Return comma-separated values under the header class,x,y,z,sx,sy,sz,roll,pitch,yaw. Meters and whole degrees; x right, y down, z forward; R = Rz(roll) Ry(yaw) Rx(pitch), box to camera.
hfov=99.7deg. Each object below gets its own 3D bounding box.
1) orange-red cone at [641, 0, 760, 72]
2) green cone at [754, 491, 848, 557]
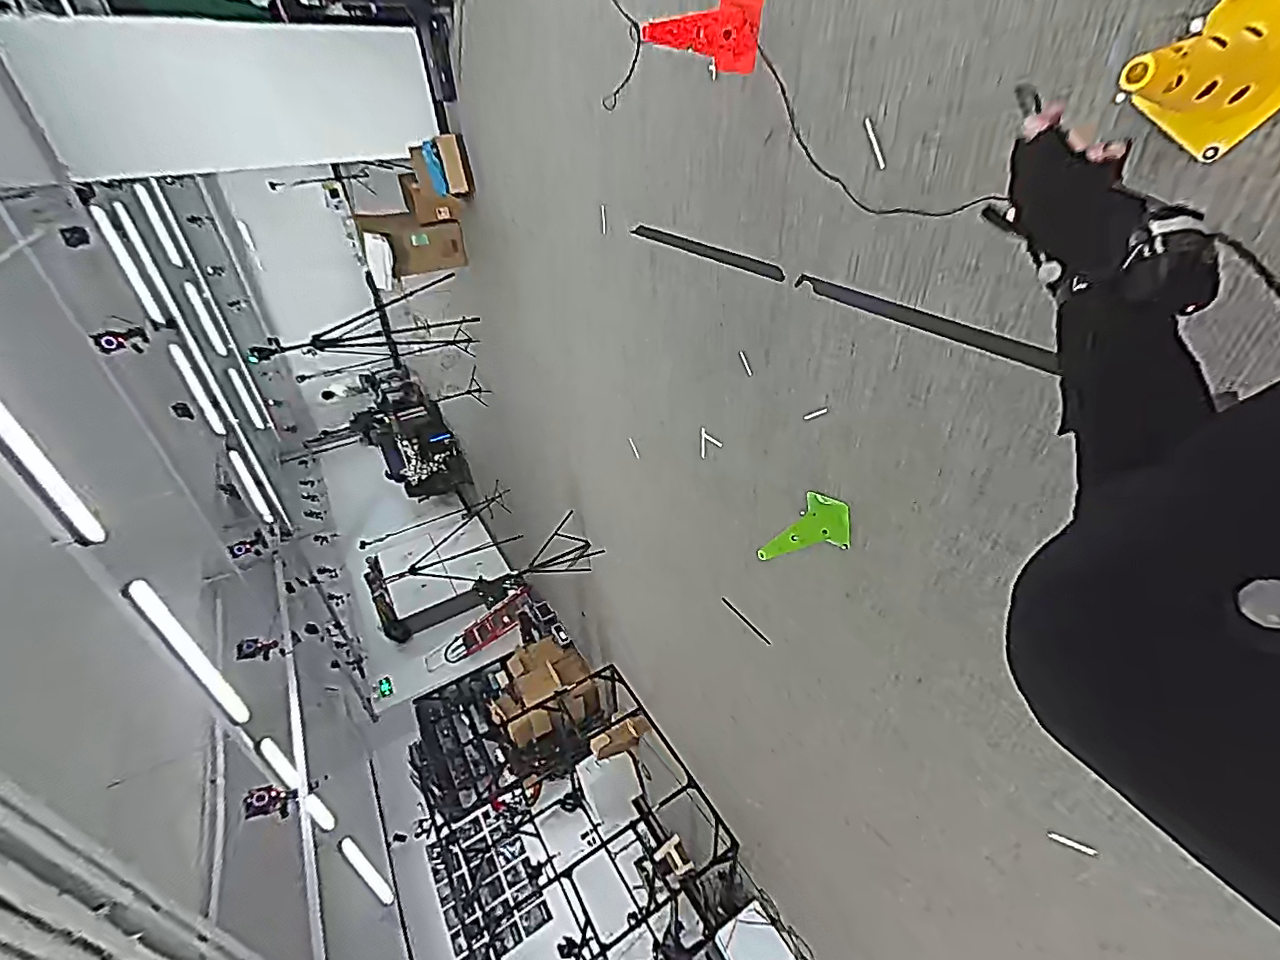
class,x,y,z,sx,sy,sz,roll,pitch,yaw
orange-red cone,0.161,-1.375,1.653,0.199,0.360,0.198,46,148,37
green cone,0.590,0.208,2.055,0.202,0.368,0.200,27,133,57
